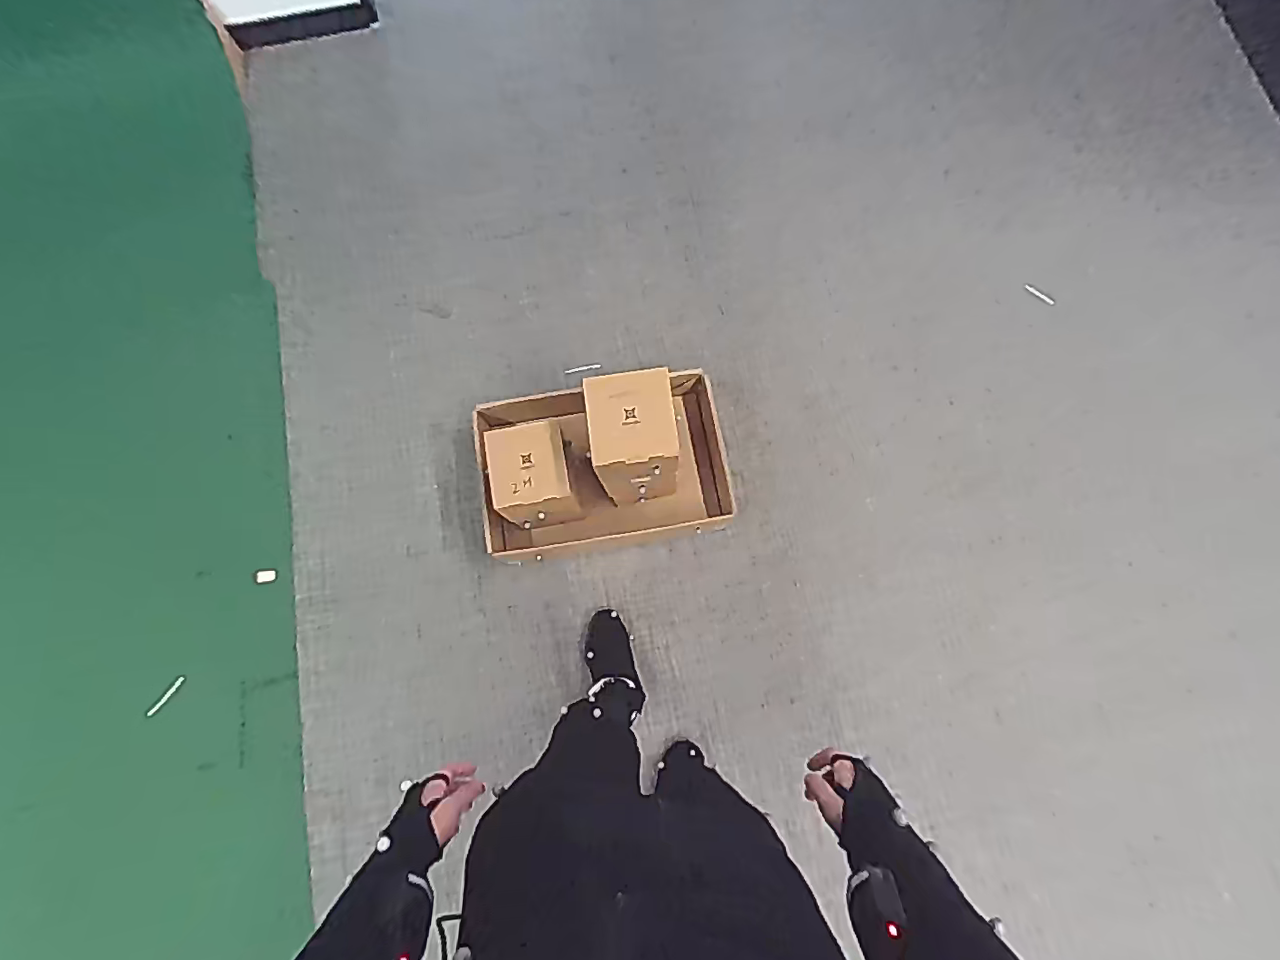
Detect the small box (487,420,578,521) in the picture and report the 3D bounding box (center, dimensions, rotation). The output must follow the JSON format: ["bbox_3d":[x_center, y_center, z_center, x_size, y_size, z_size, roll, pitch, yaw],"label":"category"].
[{"bbox_3d":[-0.239,-0.017,1.229,0.168,0.176,0.179,-10,77,-3],"label":"small box"}]

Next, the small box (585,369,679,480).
[{"bbox_3d":[-0.012,-0.101,1.086,0.168,0.176,0.179,-7,78,0],"label":"small box"}]
